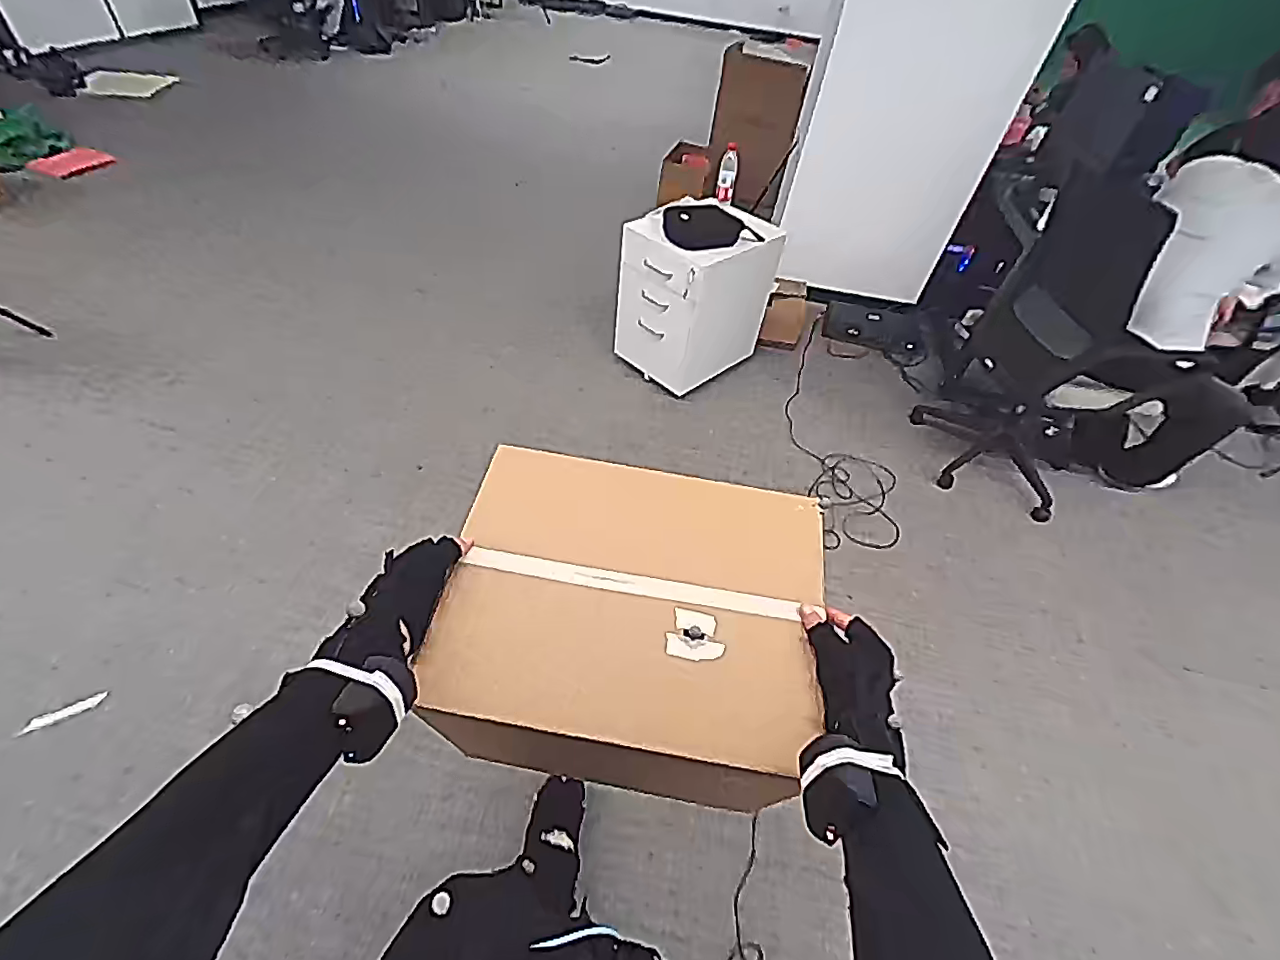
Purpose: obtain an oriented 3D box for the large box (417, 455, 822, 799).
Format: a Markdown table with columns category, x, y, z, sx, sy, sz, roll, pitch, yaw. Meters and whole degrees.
| category | x | y | z | sx | sy | sz | roll | pitch | yaw |
| --- | --- | --- | --- | --- | --- | --- | --- | --- | --- |
| large box | -0.014 | 0.205 | 0.722 | 0.408 | 0.320 | 0.320 | 10 | 55 | 2 |
